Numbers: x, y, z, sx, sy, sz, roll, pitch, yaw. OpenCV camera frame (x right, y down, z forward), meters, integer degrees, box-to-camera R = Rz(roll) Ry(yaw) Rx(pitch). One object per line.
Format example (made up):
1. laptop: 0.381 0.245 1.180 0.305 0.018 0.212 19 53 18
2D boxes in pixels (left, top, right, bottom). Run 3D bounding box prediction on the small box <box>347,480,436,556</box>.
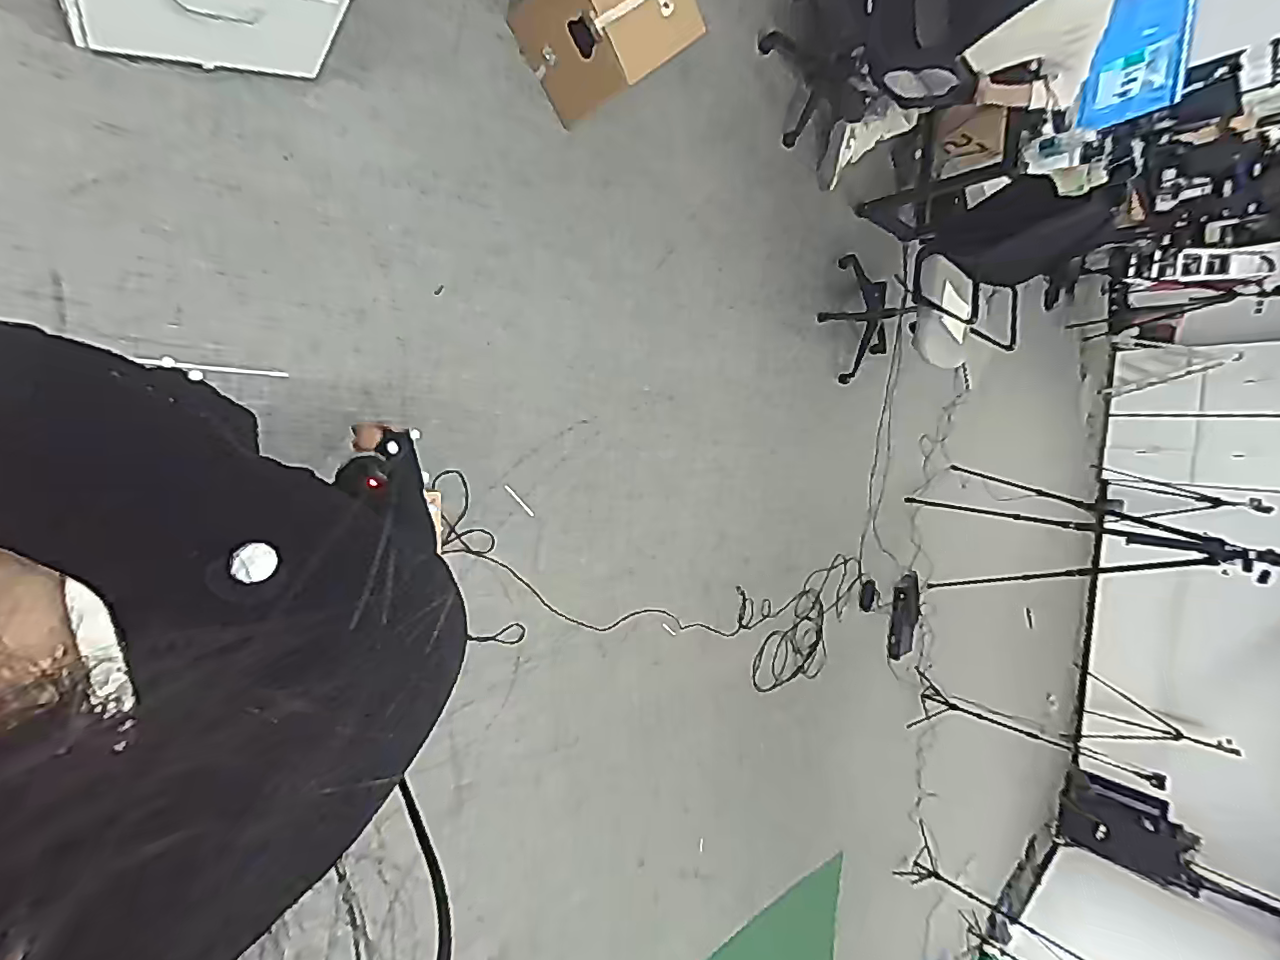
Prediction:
1. small box: -0.635 0.090 1.374 0.179 0.176 0.168 -3 98 -40
